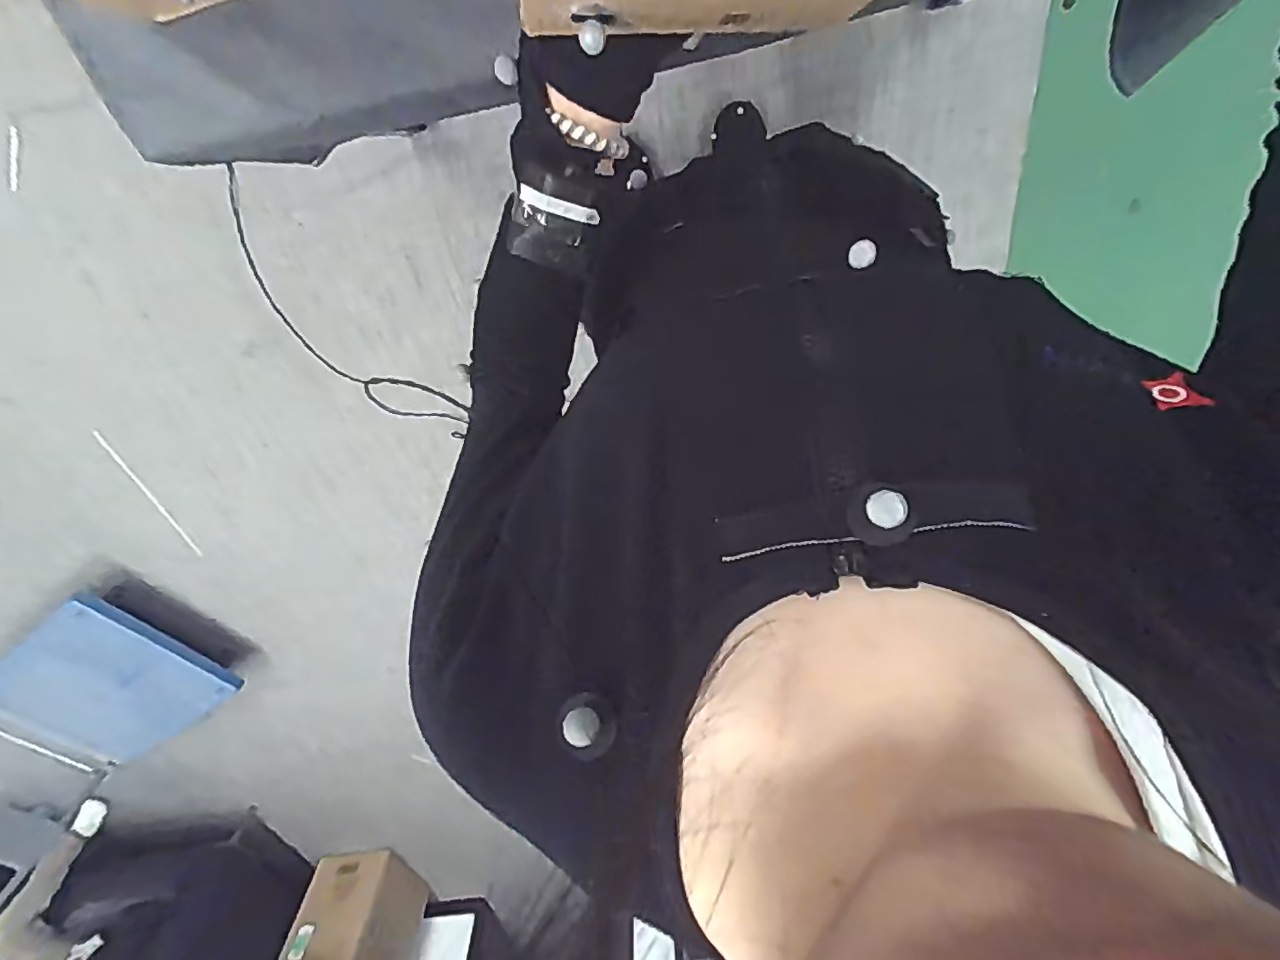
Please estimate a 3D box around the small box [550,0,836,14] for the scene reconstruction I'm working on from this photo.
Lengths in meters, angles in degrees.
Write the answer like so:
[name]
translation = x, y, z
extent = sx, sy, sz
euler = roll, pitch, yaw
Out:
[small box]
translation = 0.026, -0.277, 0.167
extent = 0.168, 0.176, 0.179
euler = -6, 114, -5
